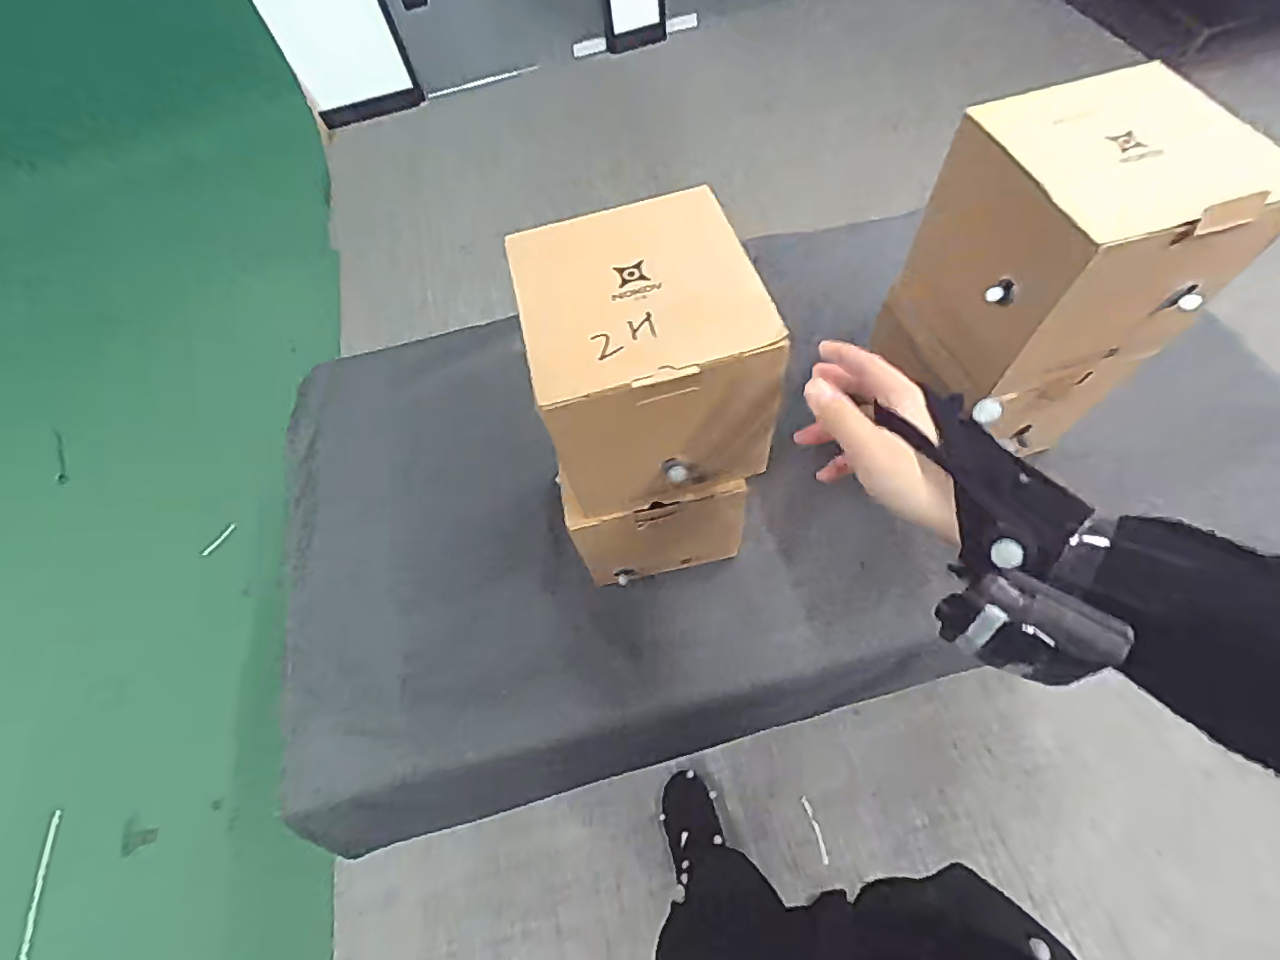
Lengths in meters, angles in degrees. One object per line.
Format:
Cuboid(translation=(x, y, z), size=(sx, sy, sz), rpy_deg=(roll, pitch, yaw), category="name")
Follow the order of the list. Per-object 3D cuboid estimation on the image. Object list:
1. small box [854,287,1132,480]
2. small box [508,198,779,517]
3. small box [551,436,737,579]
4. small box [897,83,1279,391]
Cuboid(translation=(0.372, -0.117, 0.614), size=(0.168, 0.176, 0.179), rpy_deg=(-17, 61, -3), category="small box")
Cuboid(translation=(0.000, -0.095, 0.456), size=(0.168, 0.176, 0.179), rpy_deg=(-15, 60, -1), category="small box")
Cuboid(translation=(0.004, -0.003, 0.594), size=(0.168, 0.176, 0.179), rpy_deg=(-12, 59, -1), category="small box")
Cuboid(translation=(0.360, -0.198, 0.473), size=(0.168, 0.176, 0.179), rpy_deg=(-14, 59, -2), category="small box")
